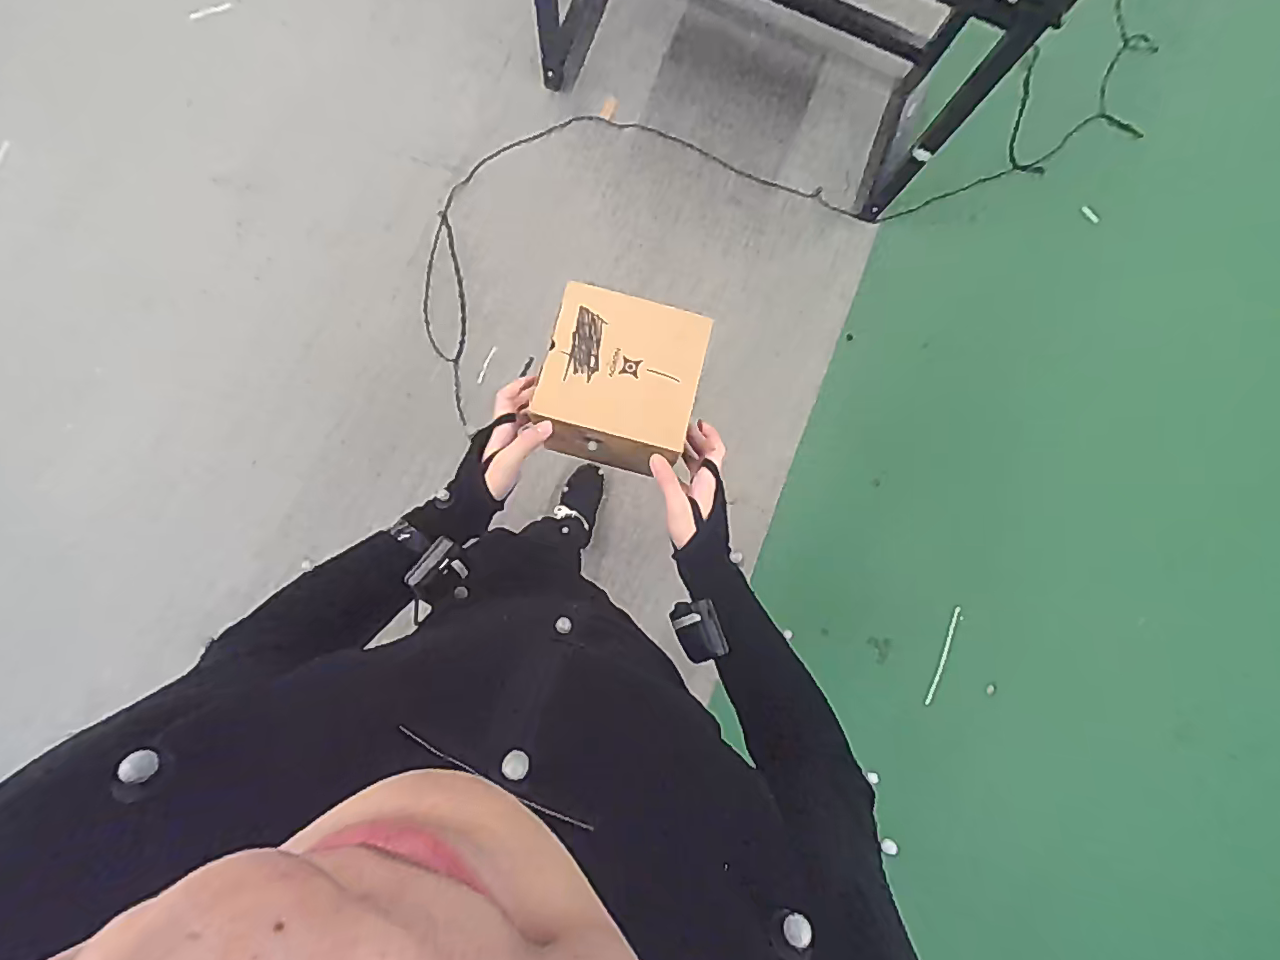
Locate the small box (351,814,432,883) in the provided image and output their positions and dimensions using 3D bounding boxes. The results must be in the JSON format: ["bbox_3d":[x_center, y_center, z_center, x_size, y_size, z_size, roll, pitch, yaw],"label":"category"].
[{"bbox_3d":[-0.644,0.980,1.351,0.168,0.176,0.179,24,84,-2],"label":"small box"}]

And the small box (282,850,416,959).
[{"bbox_3d":[-0.630,0.960,1.189,0.179,0.176,0.168,22,83,-2],"label":"small box"}]

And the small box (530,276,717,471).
[{"bbox_3d":[-0.021,-0.118,0.672,0.179,0.176,0.168,14,79,-2],"label":"small box"}]
